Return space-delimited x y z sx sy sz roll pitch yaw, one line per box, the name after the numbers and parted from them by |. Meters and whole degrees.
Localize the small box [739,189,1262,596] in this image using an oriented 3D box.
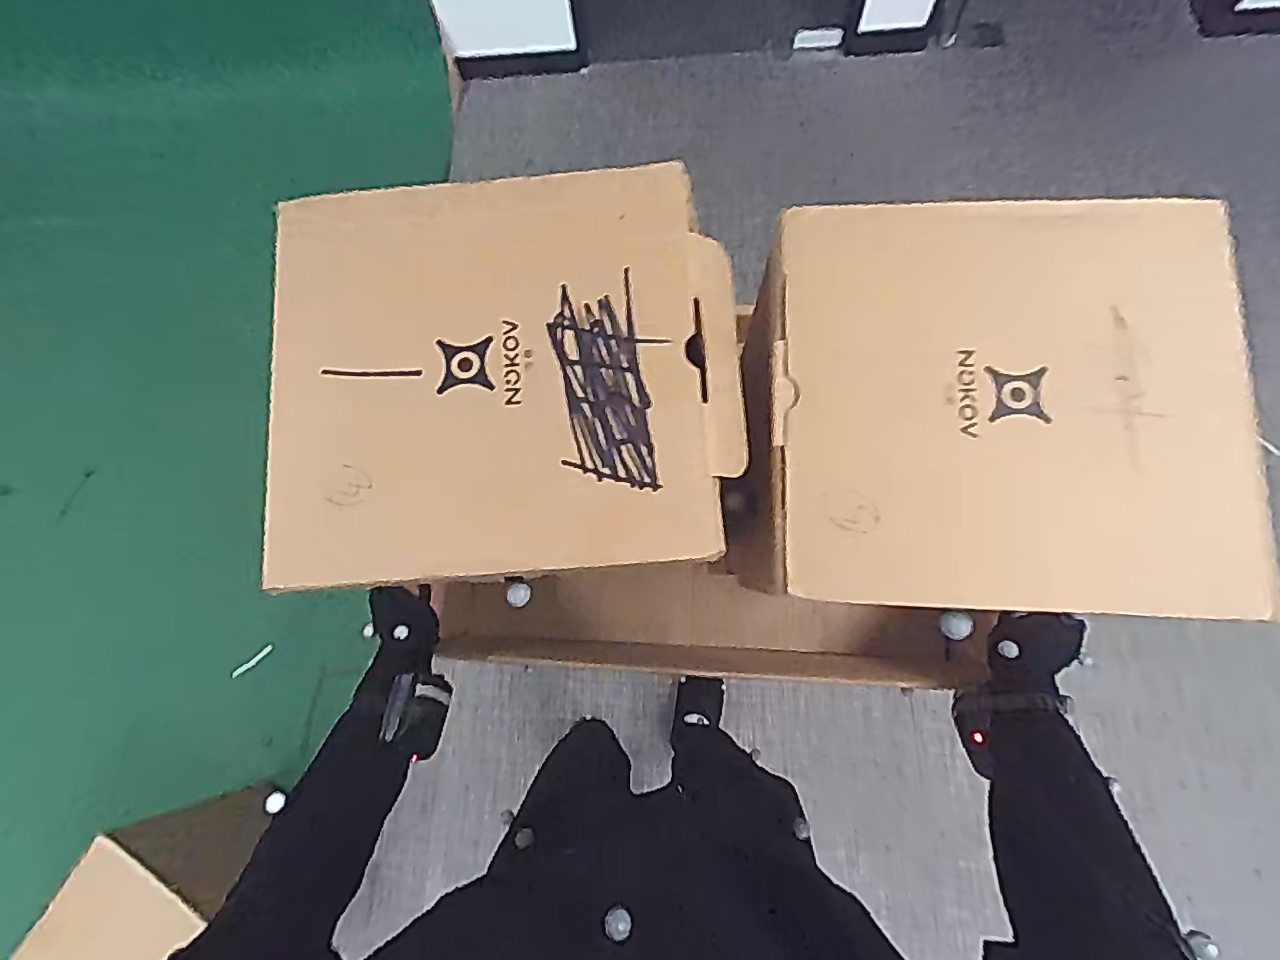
0.148 -0.027 0.294 0.179 0.176 0.168 2 81 5 | small box
